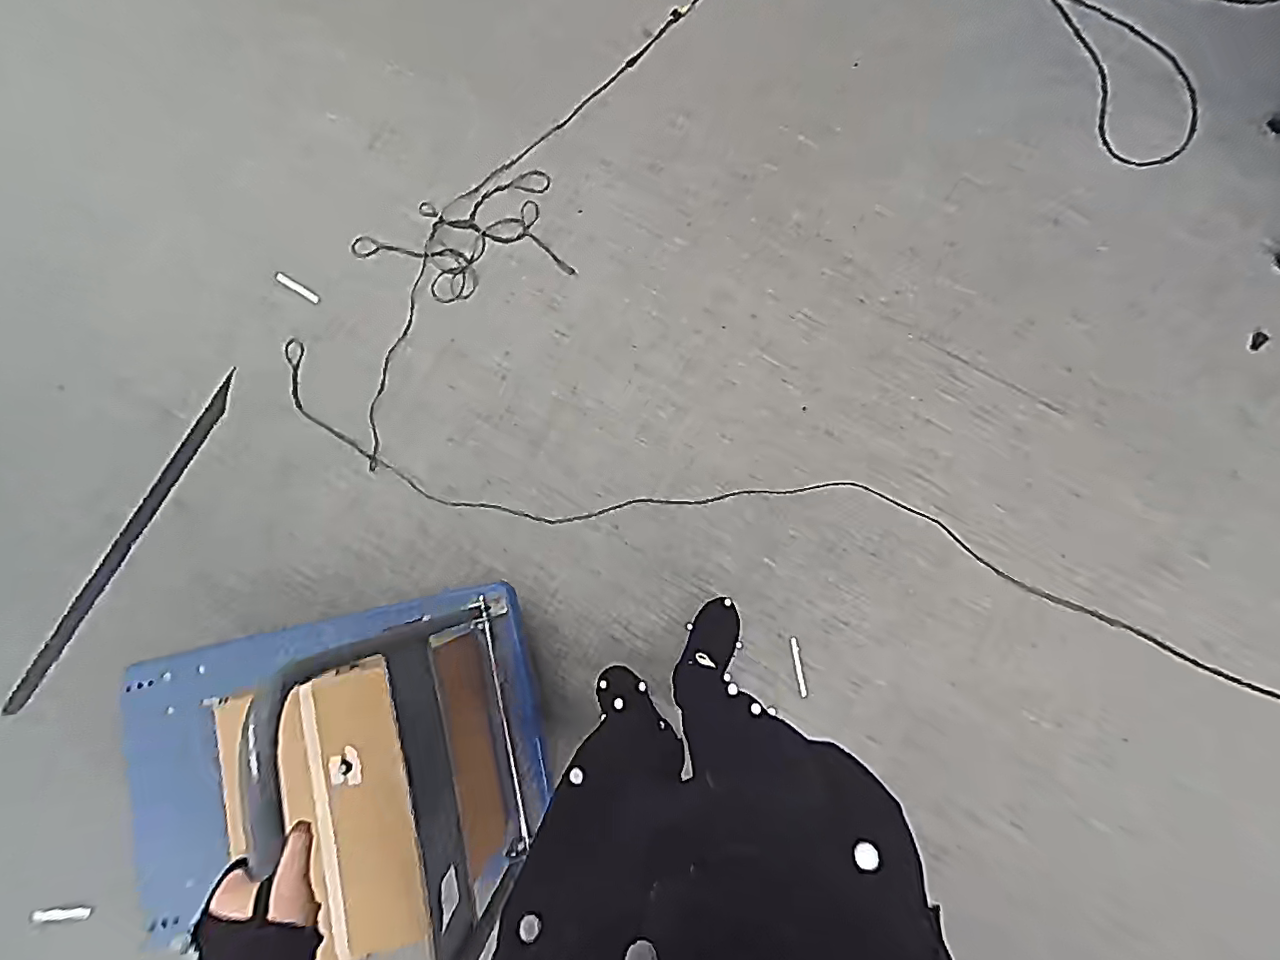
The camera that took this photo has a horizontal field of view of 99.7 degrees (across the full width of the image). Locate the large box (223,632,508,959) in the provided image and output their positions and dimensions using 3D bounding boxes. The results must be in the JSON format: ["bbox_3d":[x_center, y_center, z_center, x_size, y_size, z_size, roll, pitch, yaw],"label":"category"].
[{"bbox_3d":[-0.462,0.526,0.975,0.320,0.320,0.408,-13,82,0],"label":"large box"}]
